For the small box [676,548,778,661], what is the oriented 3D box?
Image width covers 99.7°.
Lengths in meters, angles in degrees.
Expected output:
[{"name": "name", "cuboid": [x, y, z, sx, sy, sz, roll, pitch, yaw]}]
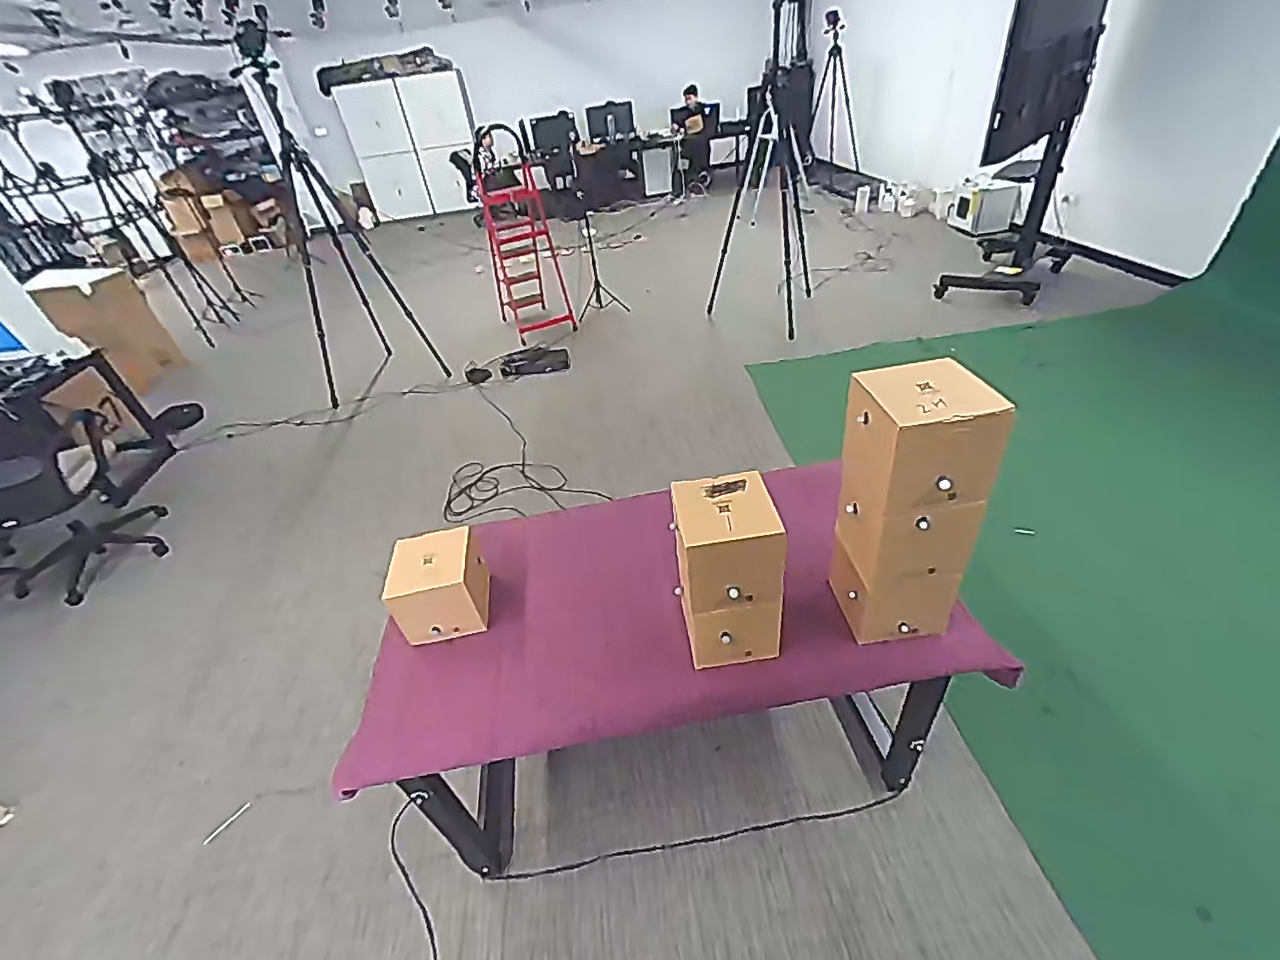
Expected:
[{"name": "small box", "cuboid": [0.170, 0.238, 1.066, 0.168, 0.176, 0.179, -9, 36, 0]}]

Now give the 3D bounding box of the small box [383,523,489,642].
[{"name": "small box", "cuboid": [-0.439, 0.226, 1.196, 0.168, 0.176, 0.179, -12, 39, -3]}]

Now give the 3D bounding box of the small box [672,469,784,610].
[{"name": "small box", "cuboid": [0.152, 0.106, 0.969, 0.168, 0.176, 0.179, -9, 37, 1]}]

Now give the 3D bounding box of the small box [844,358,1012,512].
[{"name": "small box", "cuboid": [0.442, -0.074, 0.867, 0.168, 0.176, 0.179, -9, 38, 1]}]

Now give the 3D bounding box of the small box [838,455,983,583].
[{"name": "small box", "cuboid": [0.465, 0.058, 0.964, 0.168, 0.176, 0.179, -9, 37, 2]}]
